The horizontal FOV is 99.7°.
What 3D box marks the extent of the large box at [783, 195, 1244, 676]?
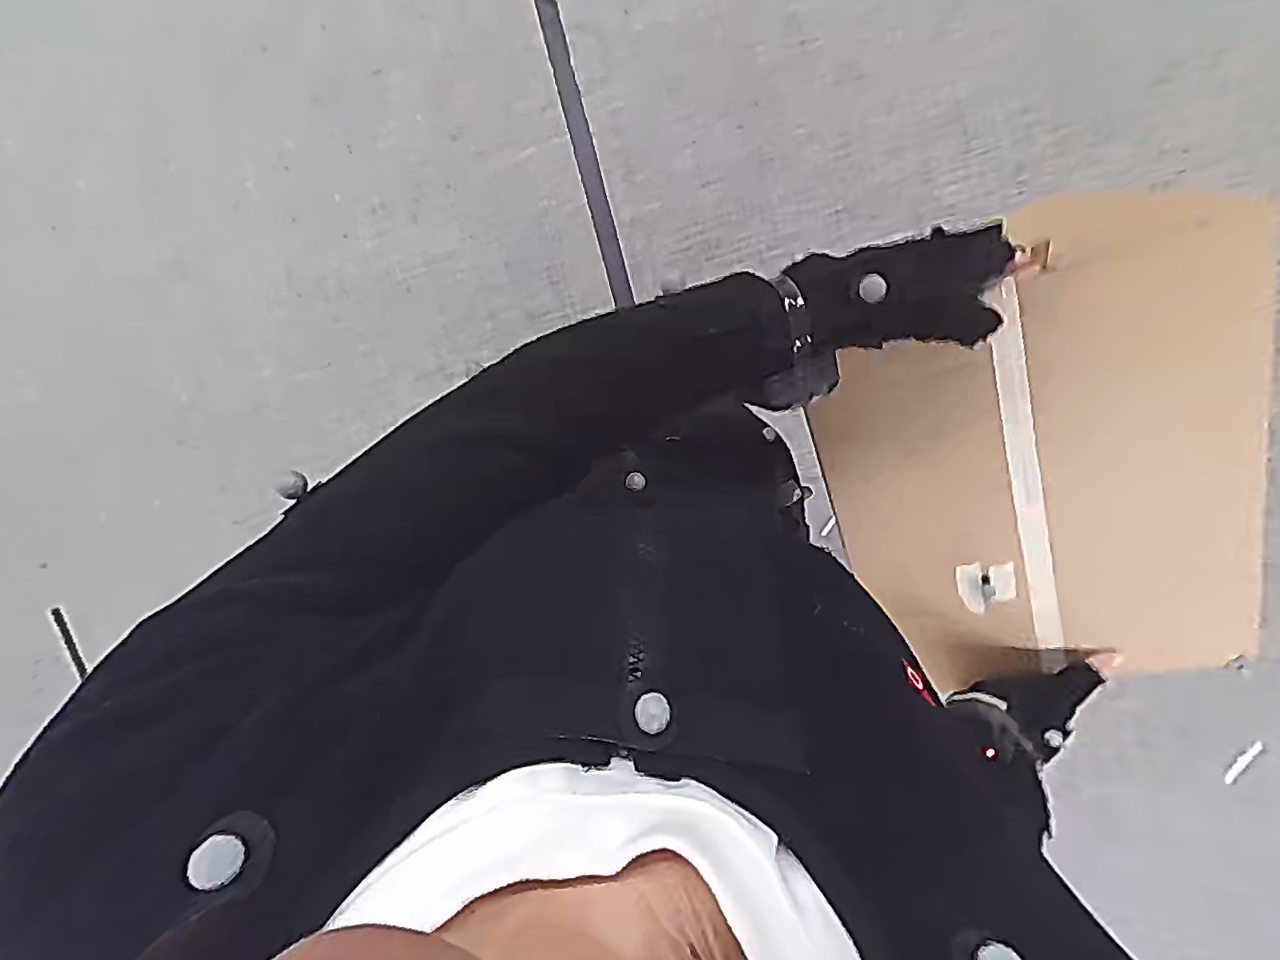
[{"bbox_3d":[0.370,-0.053,0.614,0.320,0.320,0.408,-14,113,21],"label":"large box"}]
